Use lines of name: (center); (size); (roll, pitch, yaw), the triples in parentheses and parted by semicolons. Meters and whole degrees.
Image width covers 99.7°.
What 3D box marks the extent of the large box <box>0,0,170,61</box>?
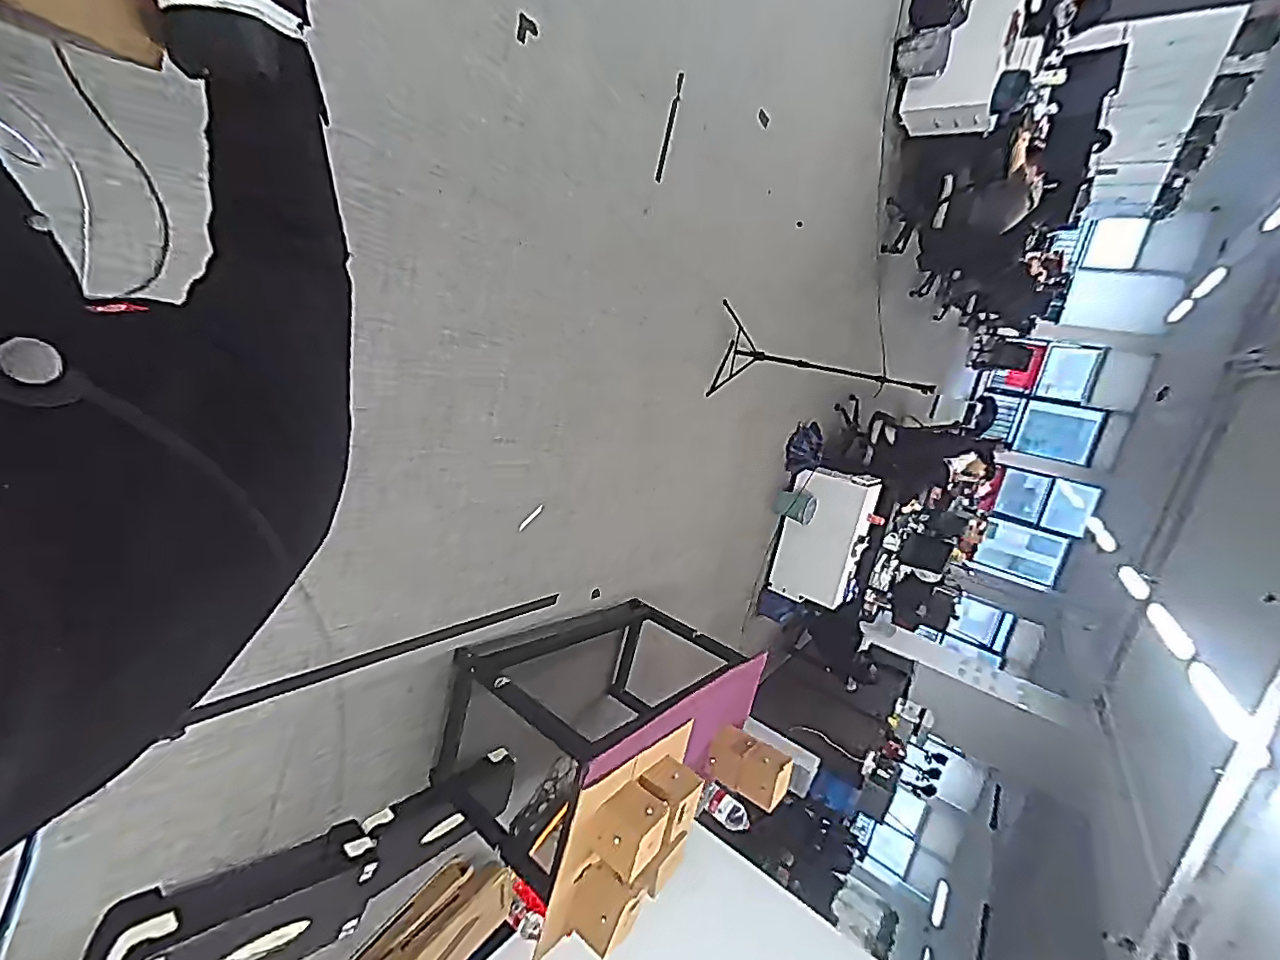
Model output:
large box: (-0.496, -0.479, 0.234); (0.408, 0.320, 0.320); (-3, 121, -57)
